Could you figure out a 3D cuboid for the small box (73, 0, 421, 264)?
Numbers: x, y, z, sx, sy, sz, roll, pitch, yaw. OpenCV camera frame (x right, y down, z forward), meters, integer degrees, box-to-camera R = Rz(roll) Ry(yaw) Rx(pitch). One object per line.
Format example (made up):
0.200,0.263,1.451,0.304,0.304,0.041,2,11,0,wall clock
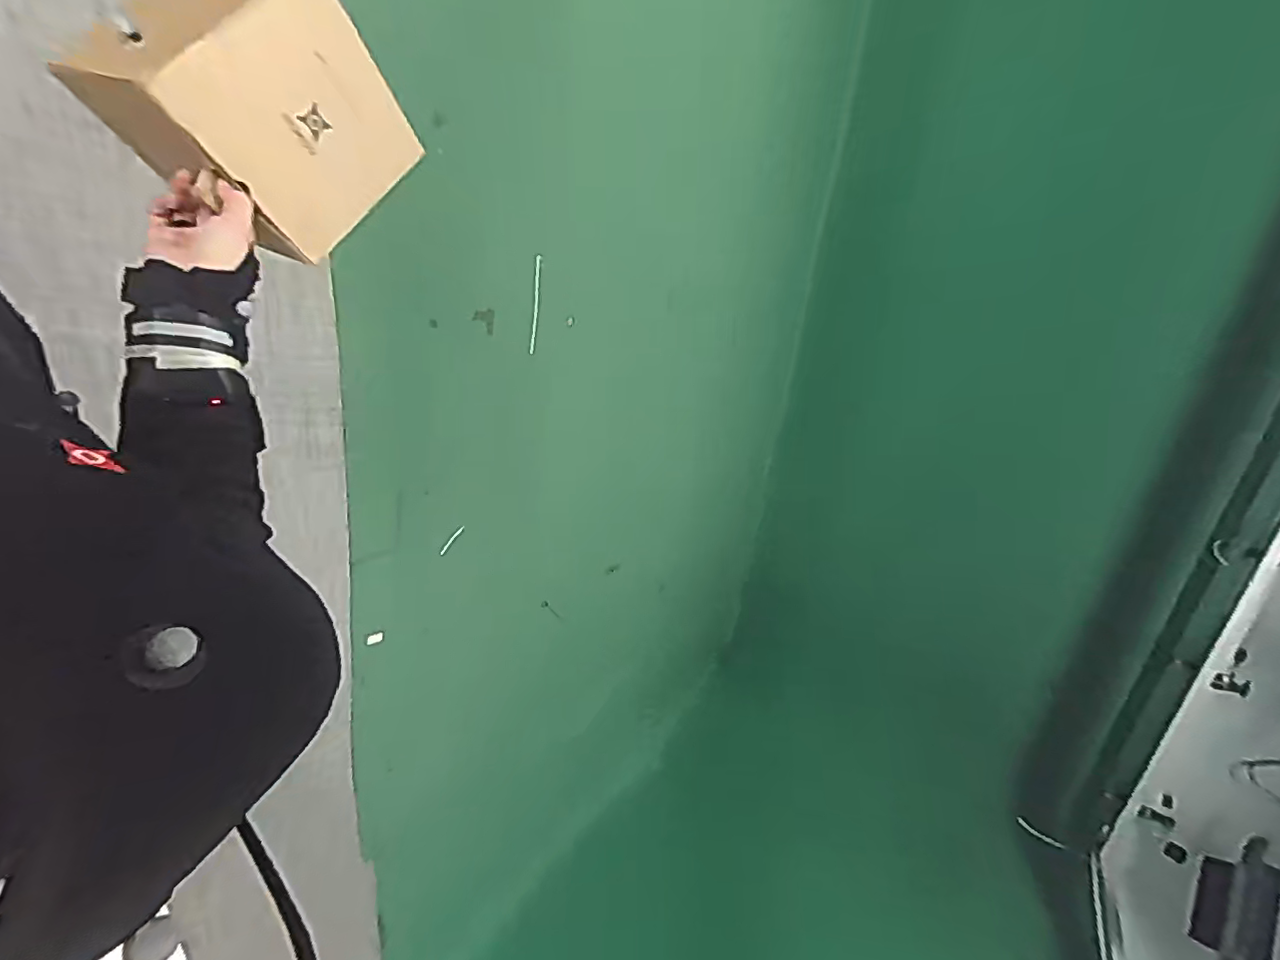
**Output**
-0.354,-0.338,0.500,0.179,0.176,0.168,-59,157,-16,small box
